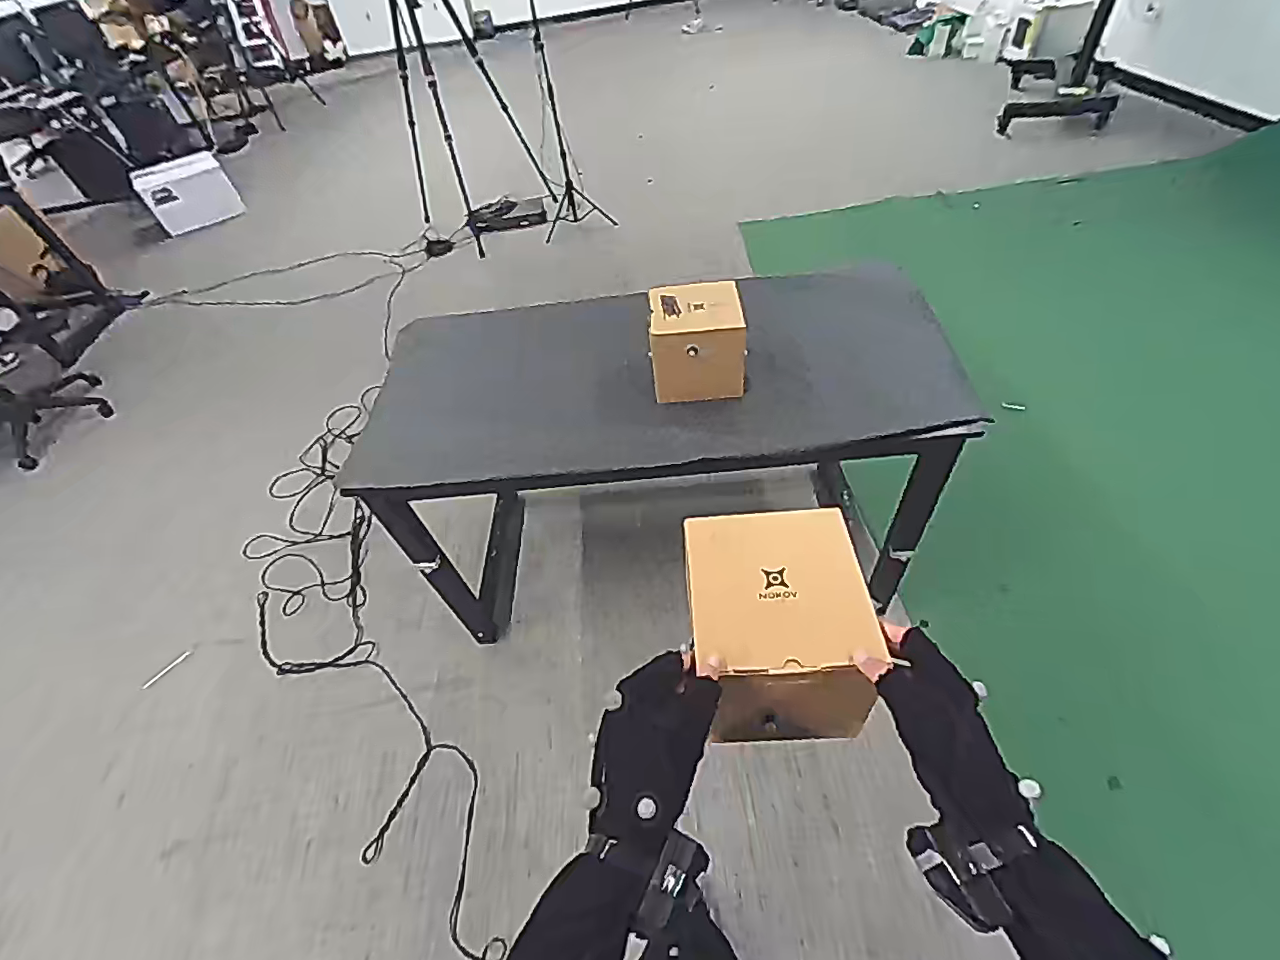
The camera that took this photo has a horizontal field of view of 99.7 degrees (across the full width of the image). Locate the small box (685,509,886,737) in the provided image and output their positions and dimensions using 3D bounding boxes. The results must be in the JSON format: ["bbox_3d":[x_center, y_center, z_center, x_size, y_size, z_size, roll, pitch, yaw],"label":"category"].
[{"bbox_3d":[0.135,0.152,0.575,0.168,0.176,0.179,-4,46,4],"label":"small box"}]

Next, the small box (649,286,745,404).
[{"bbox_3d":[0.115,-0.268,1.097,0.179,0.176,0.168,-4,48,5],"label":"small box"}]
